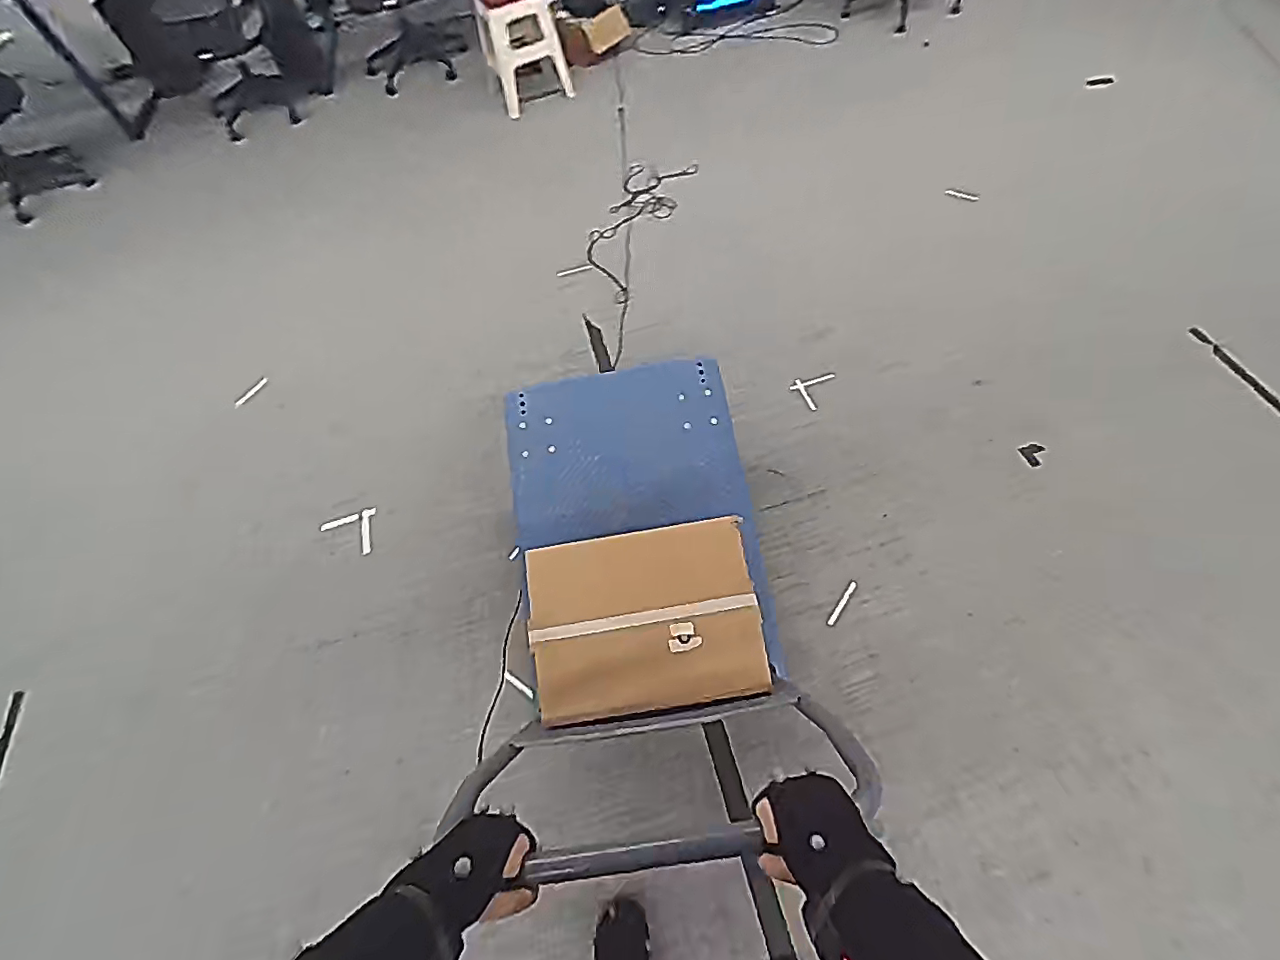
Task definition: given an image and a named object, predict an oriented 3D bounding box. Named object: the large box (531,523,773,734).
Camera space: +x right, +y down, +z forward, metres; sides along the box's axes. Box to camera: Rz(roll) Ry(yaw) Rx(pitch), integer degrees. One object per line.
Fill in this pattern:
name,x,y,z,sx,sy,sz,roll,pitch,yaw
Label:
large box,0.019,0.306,1.124,0.408,0.320,0.320,-10,74,0
